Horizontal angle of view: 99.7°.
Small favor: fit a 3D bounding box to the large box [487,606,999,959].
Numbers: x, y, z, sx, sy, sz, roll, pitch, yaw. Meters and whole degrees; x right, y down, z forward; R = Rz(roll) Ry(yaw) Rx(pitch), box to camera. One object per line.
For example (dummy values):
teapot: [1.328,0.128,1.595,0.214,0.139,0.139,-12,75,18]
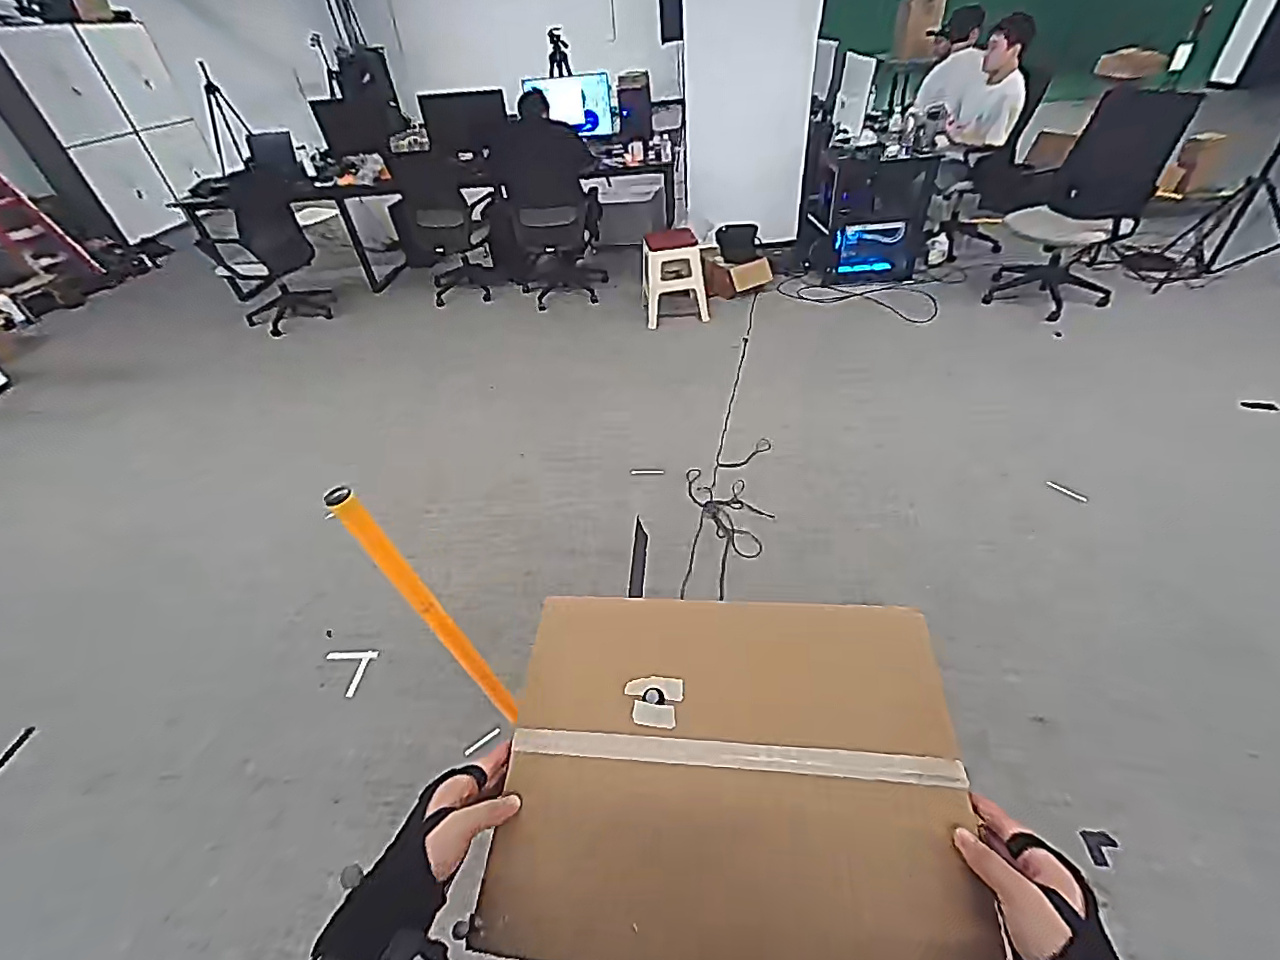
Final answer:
large box: [0.104,0.355,0.621,0.408,0.320,0.320,-1,49,11]
